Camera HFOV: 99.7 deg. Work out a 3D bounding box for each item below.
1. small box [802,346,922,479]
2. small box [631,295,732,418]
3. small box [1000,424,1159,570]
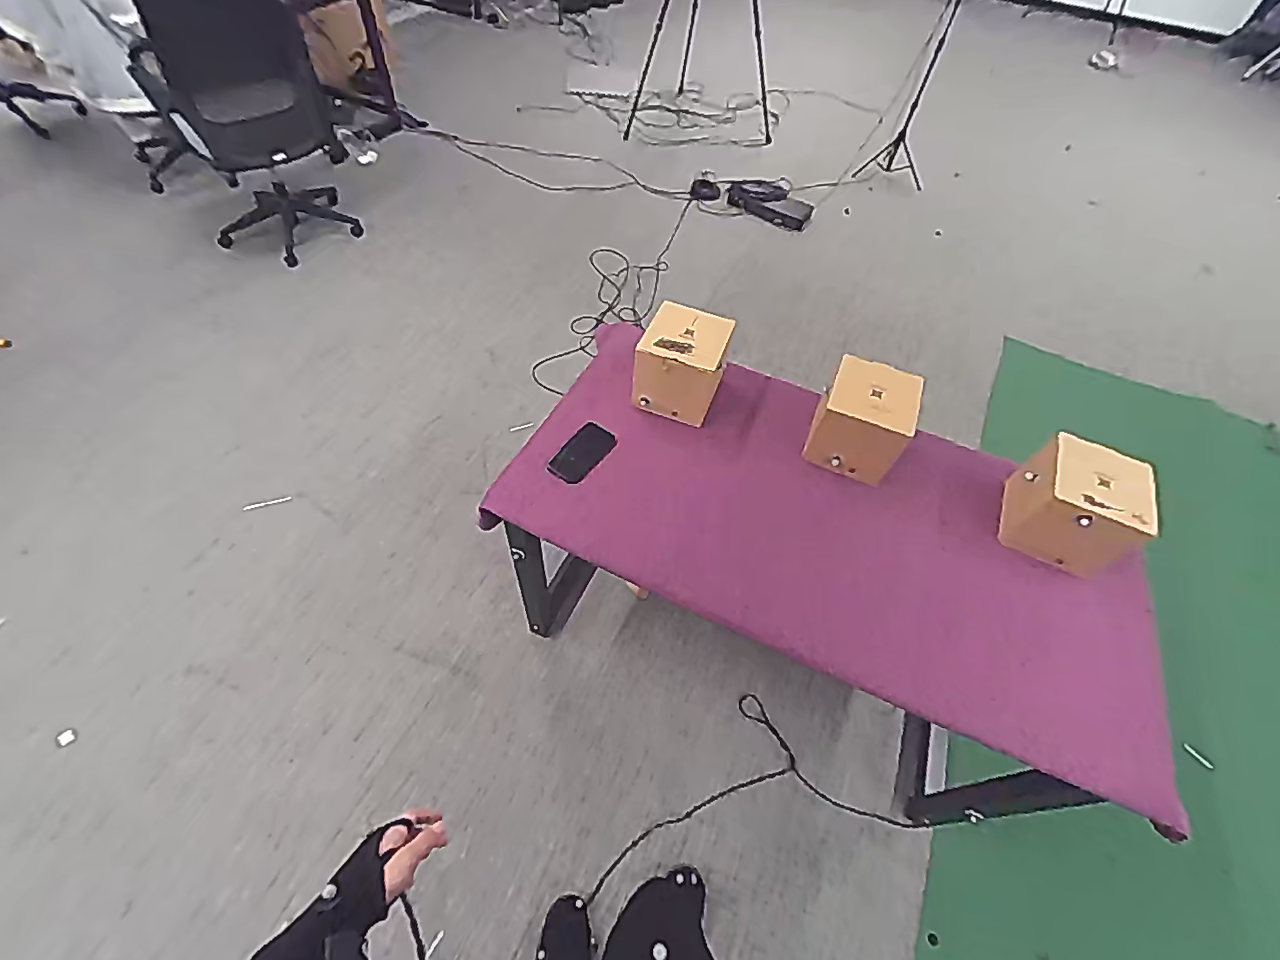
[{"bbox_3d":[0.448,-0.136,1.107,0.168,0.176,0.179,22,56,12],"label":"small box"},{"bbox_3d":[0.084,-0.261,1.164,0.168,0.176,0.179,20,54,8],"label":"small box"},{"bbox_3d":[0.811,0.034,1.014,0.168,0.176,0.179,24,56,13],"label":"small box"}]
